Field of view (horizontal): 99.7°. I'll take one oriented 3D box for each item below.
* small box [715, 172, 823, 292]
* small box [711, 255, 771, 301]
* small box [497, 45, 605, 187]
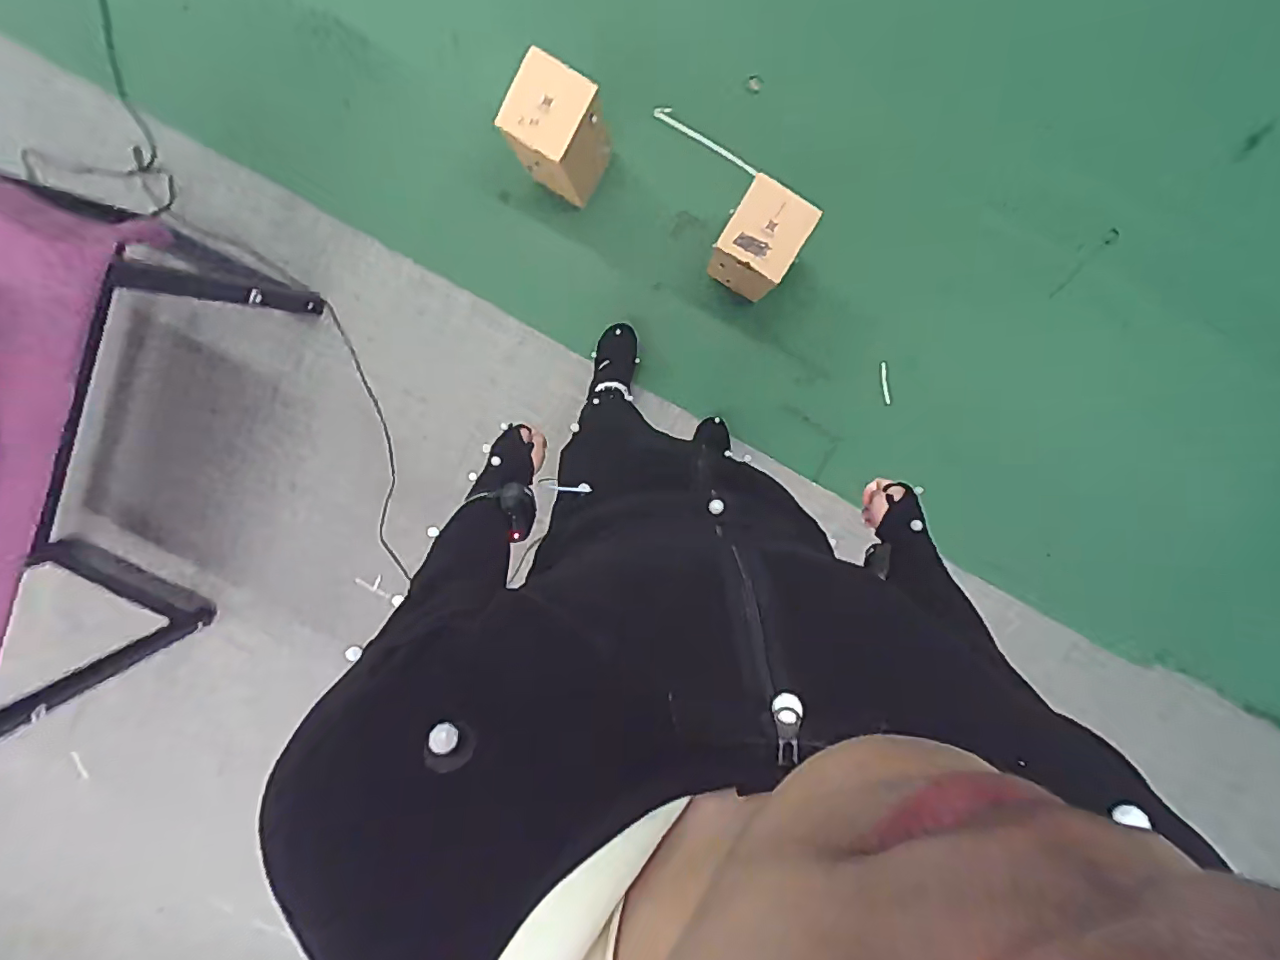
[{"bbox_3d":[0.286,-0.557,1.246,0.168,0.176,0.179,32,101,-4],"label":"small box"},{"bbox_3d":[0.296,-0.591,1.406,0.168,0.176,0.179,30,103,-3],"label":"small box"},{"bbox_3d":[-0.191,-0.812,1.227,0.168,0.176,0.179,32,101,-2],"label":"small box"}]
